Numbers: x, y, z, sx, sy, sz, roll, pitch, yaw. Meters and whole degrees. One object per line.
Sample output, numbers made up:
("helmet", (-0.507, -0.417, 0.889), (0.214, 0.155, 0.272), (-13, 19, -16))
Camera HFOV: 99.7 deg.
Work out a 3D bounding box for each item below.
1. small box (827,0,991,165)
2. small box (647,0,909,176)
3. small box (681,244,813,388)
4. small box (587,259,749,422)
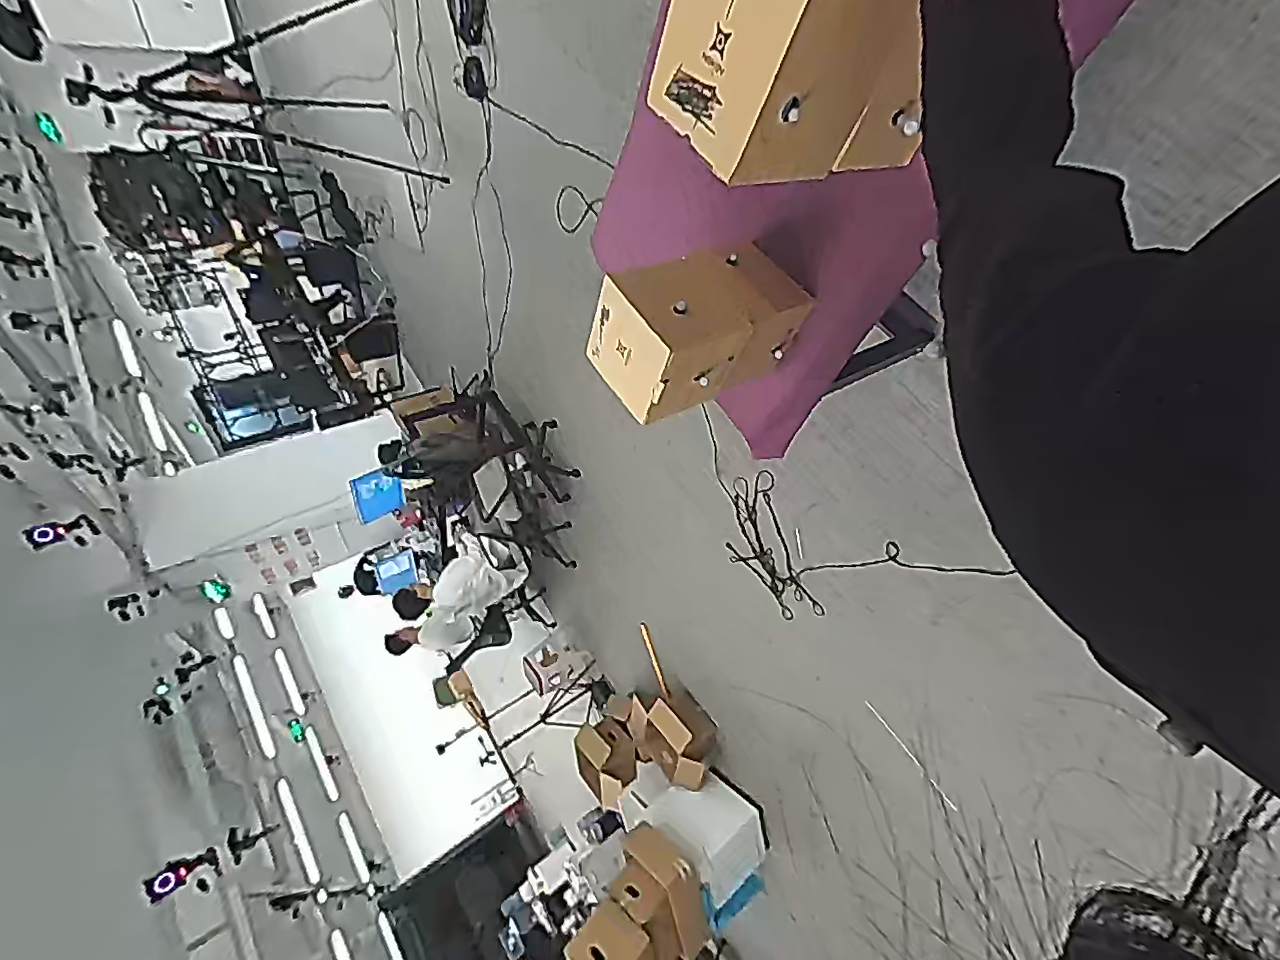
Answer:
("small box", (0.267, -0.512, 0.648), (0.179, 0.176, 0.168), (53, 148, 22))
("small box", (0.138, -0.453, 0.565), (0.168, 0.176, 0.179), (55, 148, 20))
("small box", (0.165, -0.295, 0.955), (0.179, 0.176, 0.168), (52, 147, 21))
("small box", (0.043, -0.229, 0.867), (0.179, 0.176, 0.168), (52, 147, 20))
